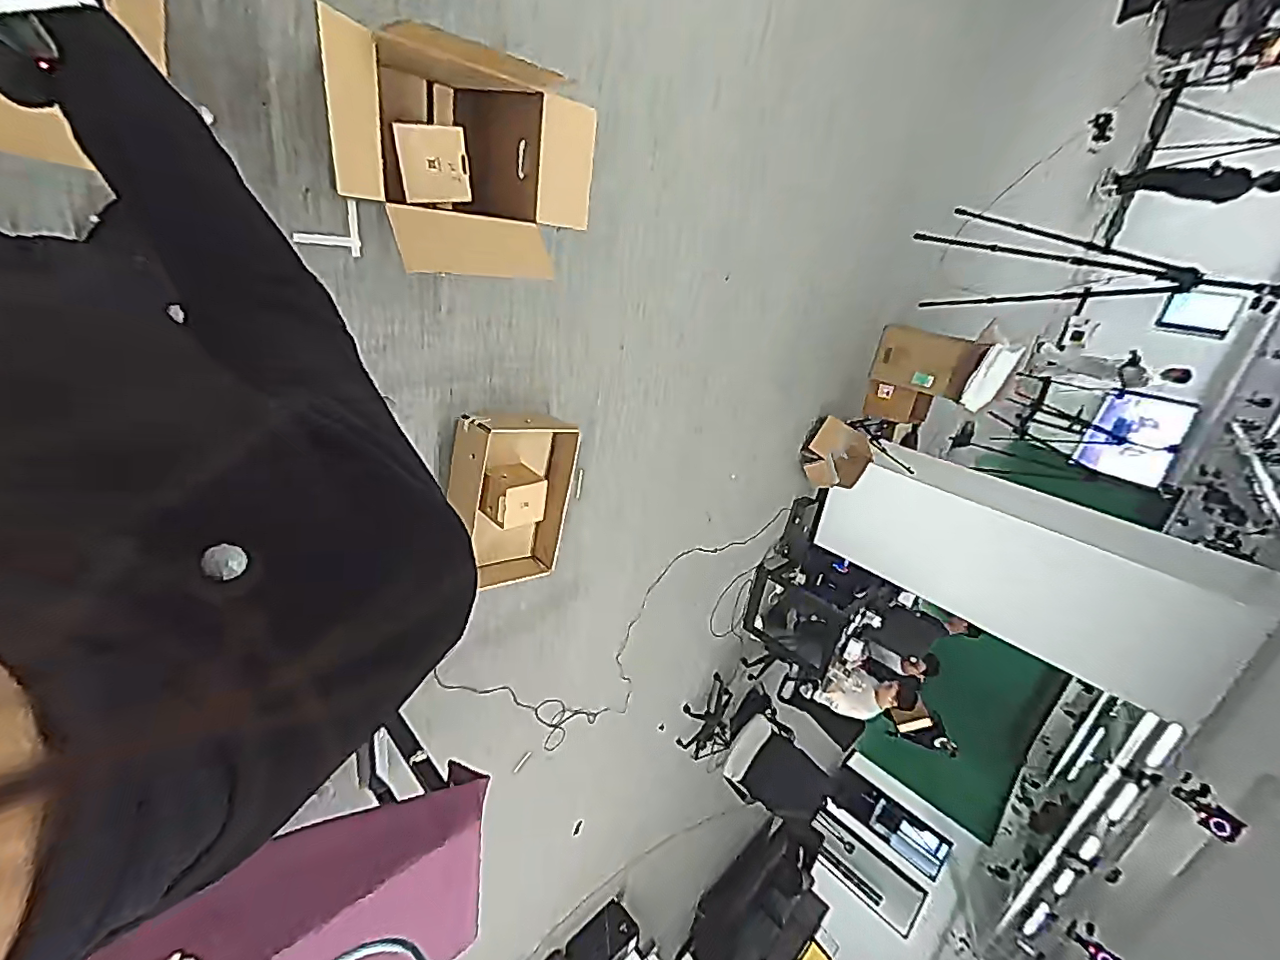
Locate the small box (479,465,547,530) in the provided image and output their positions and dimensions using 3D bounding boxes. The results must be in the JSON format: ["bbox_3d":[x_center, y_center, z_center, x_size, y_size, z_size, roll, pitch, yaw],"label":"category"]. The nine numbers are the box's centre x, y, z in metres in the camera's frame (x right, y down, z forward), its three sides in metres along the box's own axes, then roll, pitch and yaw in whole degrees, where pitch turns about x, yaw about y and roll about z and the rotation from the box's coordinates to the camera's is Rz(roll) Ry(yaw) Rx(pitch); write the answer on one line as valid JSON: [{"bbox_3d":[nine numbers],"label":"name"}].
[{"bbox_3d":[-0.463,0.057,1.957,0.179,0.176,0.168,-13,123,-44],"label":"small box"}]
